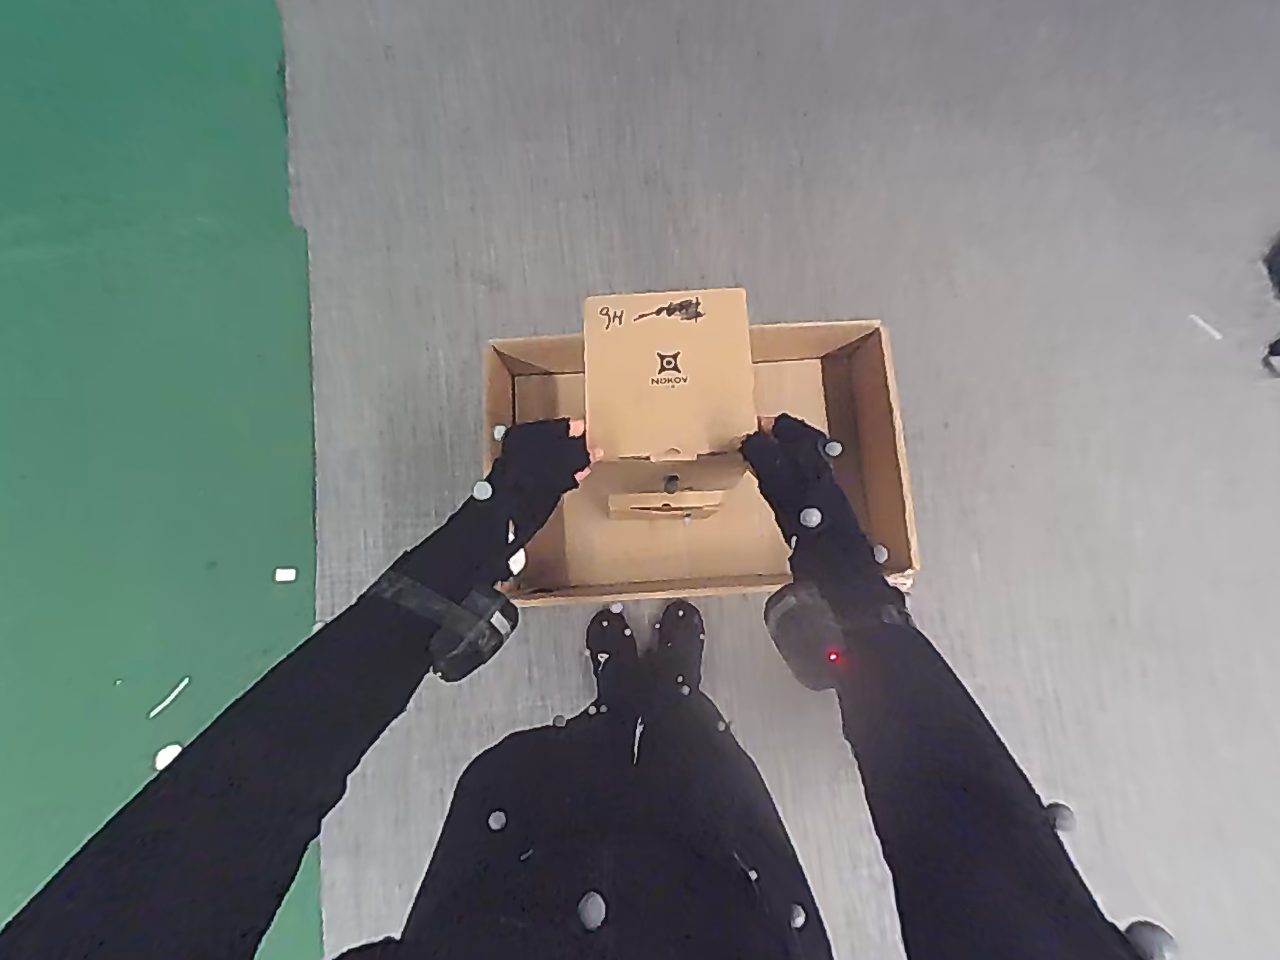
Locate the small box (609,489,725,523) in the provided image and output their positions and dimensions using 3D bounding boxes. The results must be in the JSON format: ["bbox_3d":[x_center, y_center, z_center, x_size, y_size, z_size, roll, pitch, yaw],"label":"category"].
[{"bbox_3d":[0.036,-0.024,0.844,0.168,0.176,0.179,-1,79,-3],"label":"small box"}]

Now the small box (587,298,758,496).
[{"bbox_3d":[0.034,-0.080,0.610,0.168,0.176,0.179,-3,77,2],"label":"small box"}]
